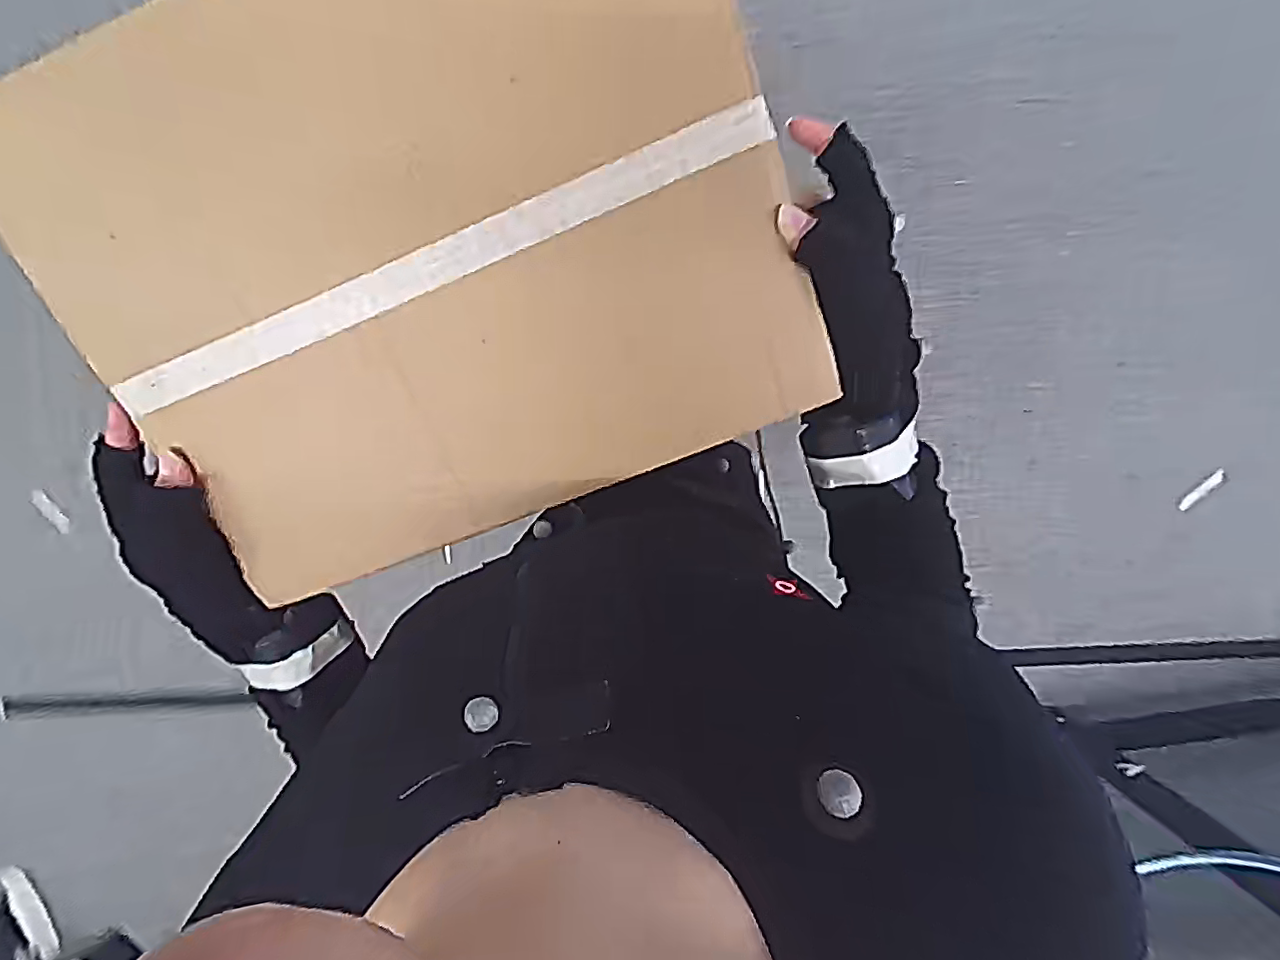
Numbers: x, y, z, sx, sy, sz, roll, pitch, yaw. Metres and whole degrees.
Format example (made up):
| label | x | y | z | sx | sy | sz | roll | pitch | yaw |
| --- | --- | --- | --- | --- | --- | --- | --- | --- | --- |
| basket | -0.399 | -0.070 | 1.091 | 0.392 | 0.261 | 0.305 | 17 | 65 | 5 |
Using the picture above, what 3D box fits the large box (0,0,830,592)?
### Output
| label | x | y | z | sx | sy | sz | roll | pitch | yaw |
| --- | --- | --- | --- | --- | --- | --- | --- | --- | --- |
| large box | -0.116 | -0.170 | 0.456 | 0.408 | 0.320 | 0.320 | -19 | 107 | 6 |
